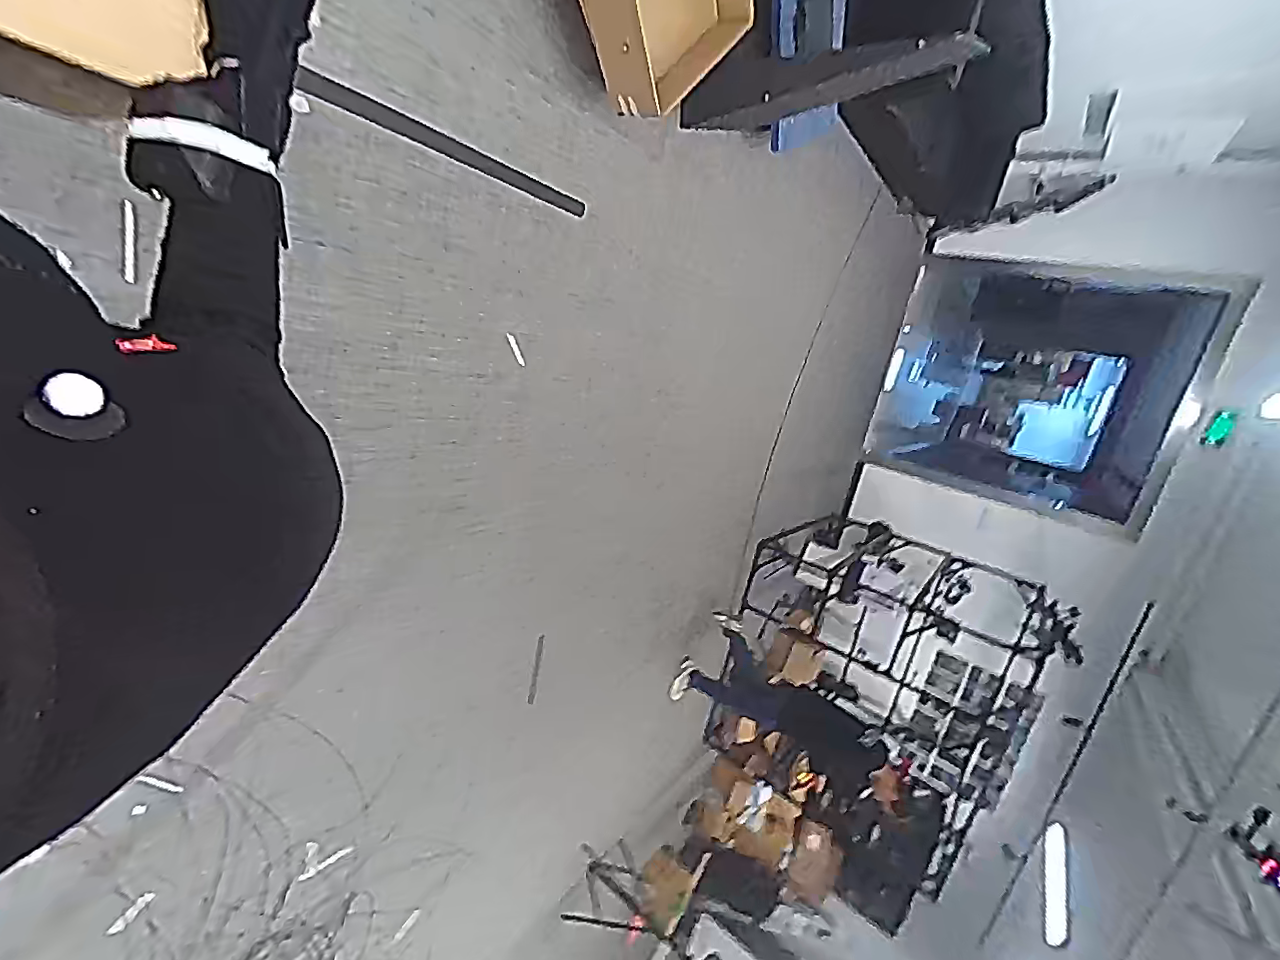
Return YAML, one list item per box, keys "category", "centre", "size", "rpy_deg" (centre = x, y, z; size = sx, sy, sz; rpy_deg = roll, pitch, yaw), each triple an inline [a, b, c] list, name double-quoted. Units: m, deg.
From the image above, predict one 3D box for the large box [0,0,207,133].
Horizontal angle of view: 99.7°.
- category: "large box"
  centre: [-0.512, -0.428, 0.267]
  size: [0.408, 0.320, 0.320]
  rpy_deg: [-6, 114, -57]
